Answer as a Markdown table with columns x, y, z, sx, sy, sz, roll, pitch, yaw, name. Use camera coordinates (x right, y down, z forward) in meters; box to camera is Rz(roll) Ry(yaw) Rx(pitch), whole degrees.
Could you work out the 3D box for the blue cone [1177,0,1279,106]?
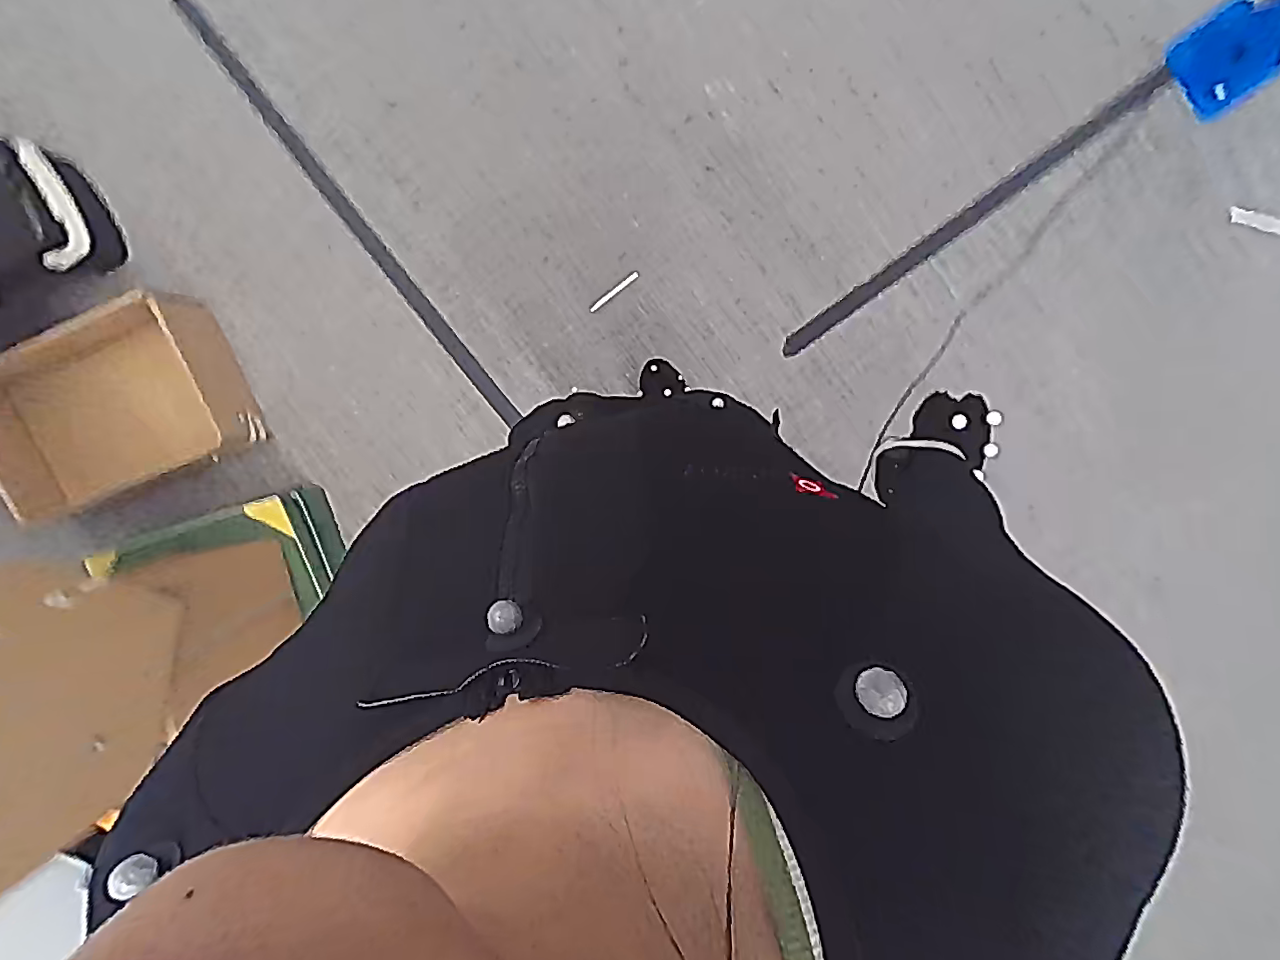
| x | y | z | sx | sy | sz | roll | pitch | yaw | name |
| --- | --- | --- | --- | --- | --- | --- | --- | --- | --- |
| 1.319 | -0.936 | 1.044 | 0.192 | 0.380 | 0.193 | -38 | 96 | 8 | blue cone |
